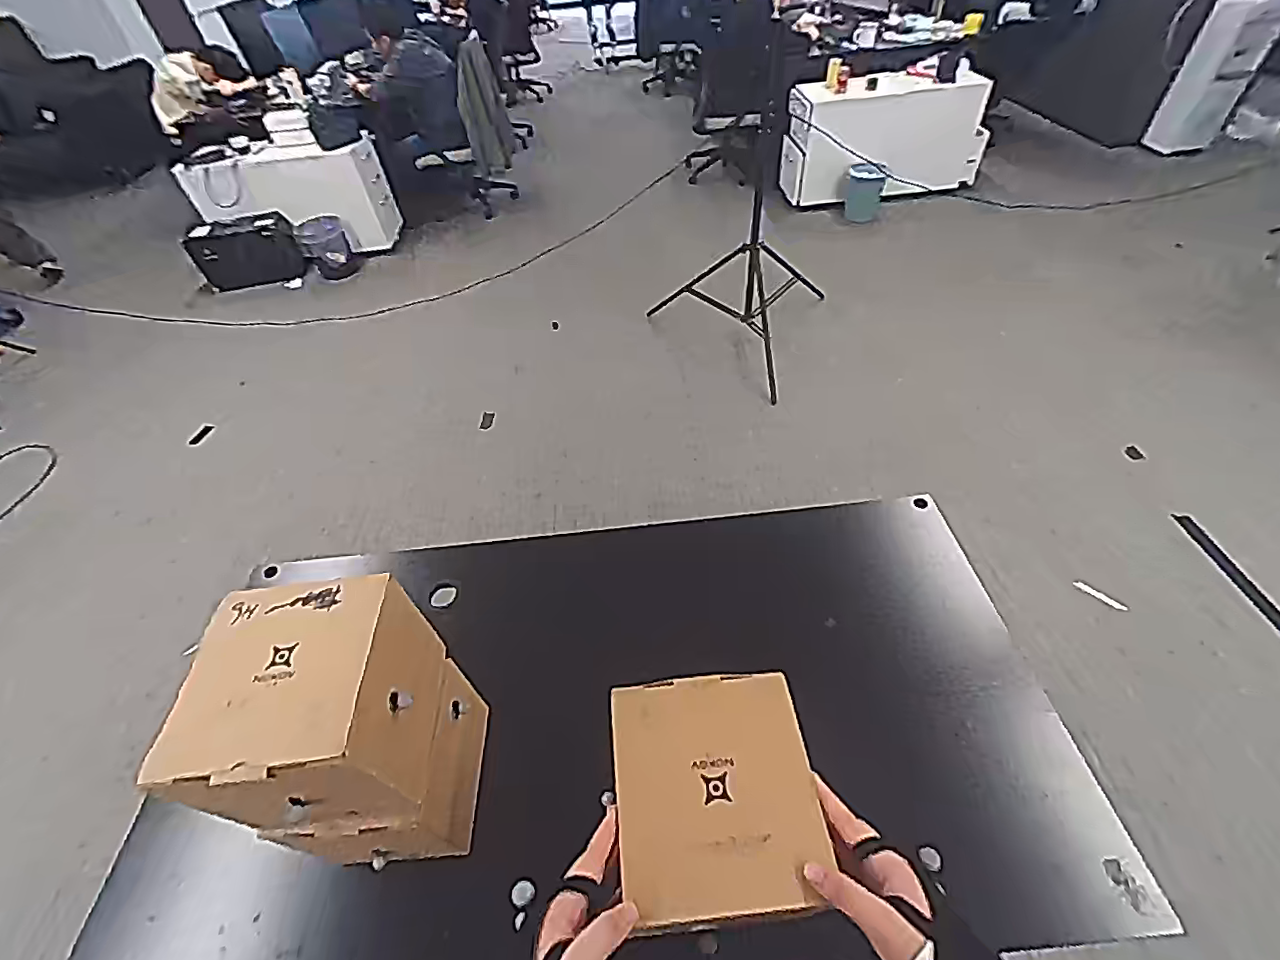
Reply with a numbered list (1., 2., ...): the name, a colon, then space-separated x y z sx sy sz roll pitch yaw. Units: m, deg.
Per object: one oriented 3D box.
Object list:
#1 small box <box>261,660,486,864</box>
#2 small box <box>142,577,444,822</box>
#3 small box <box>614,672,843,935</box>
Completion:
1. small box: -0.295 0.339 0.649 0.168 0.176 0.179 -5 48 1
2. small box: -0.310 0.222 0.535 0.168 0.176 0.179 -7 48 -1
3. small box: 0.063 0.304 0.509 0.168 0.176 0.179 -5 49 -3
